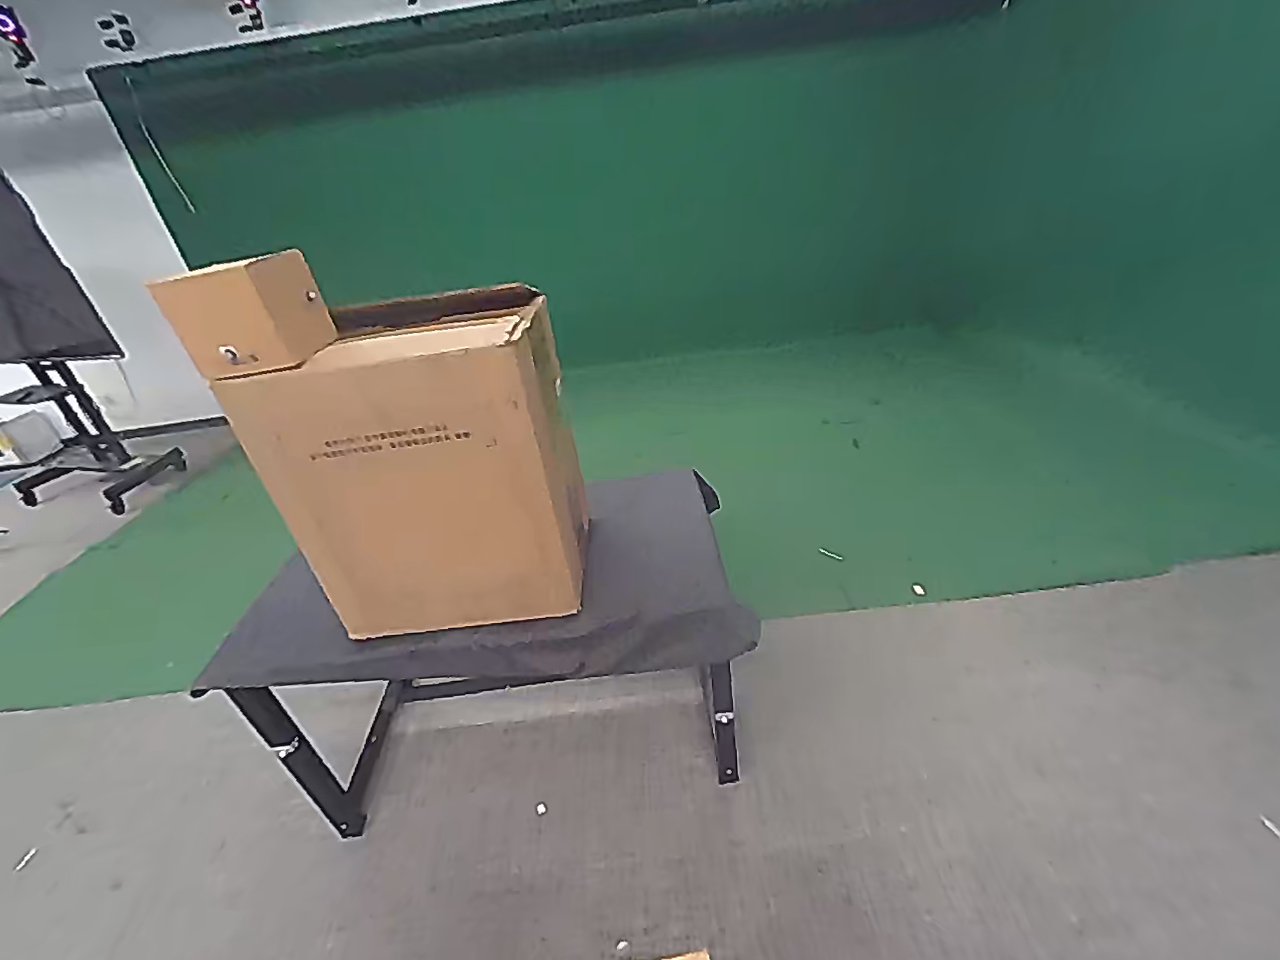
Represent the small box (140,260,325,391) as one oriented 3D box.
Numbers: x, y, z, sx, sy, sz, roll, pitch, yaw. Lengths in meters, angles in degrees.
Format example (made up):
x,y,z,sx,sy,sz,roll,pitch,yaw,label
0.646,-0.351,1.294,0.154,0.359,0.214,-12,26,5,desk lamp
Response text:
x,y,z,sx,sy,sz,roll,pitch,yaw,label
-0.692,-0.272,0.949,0.168,0.176,0.179,-11,31,1,small box
